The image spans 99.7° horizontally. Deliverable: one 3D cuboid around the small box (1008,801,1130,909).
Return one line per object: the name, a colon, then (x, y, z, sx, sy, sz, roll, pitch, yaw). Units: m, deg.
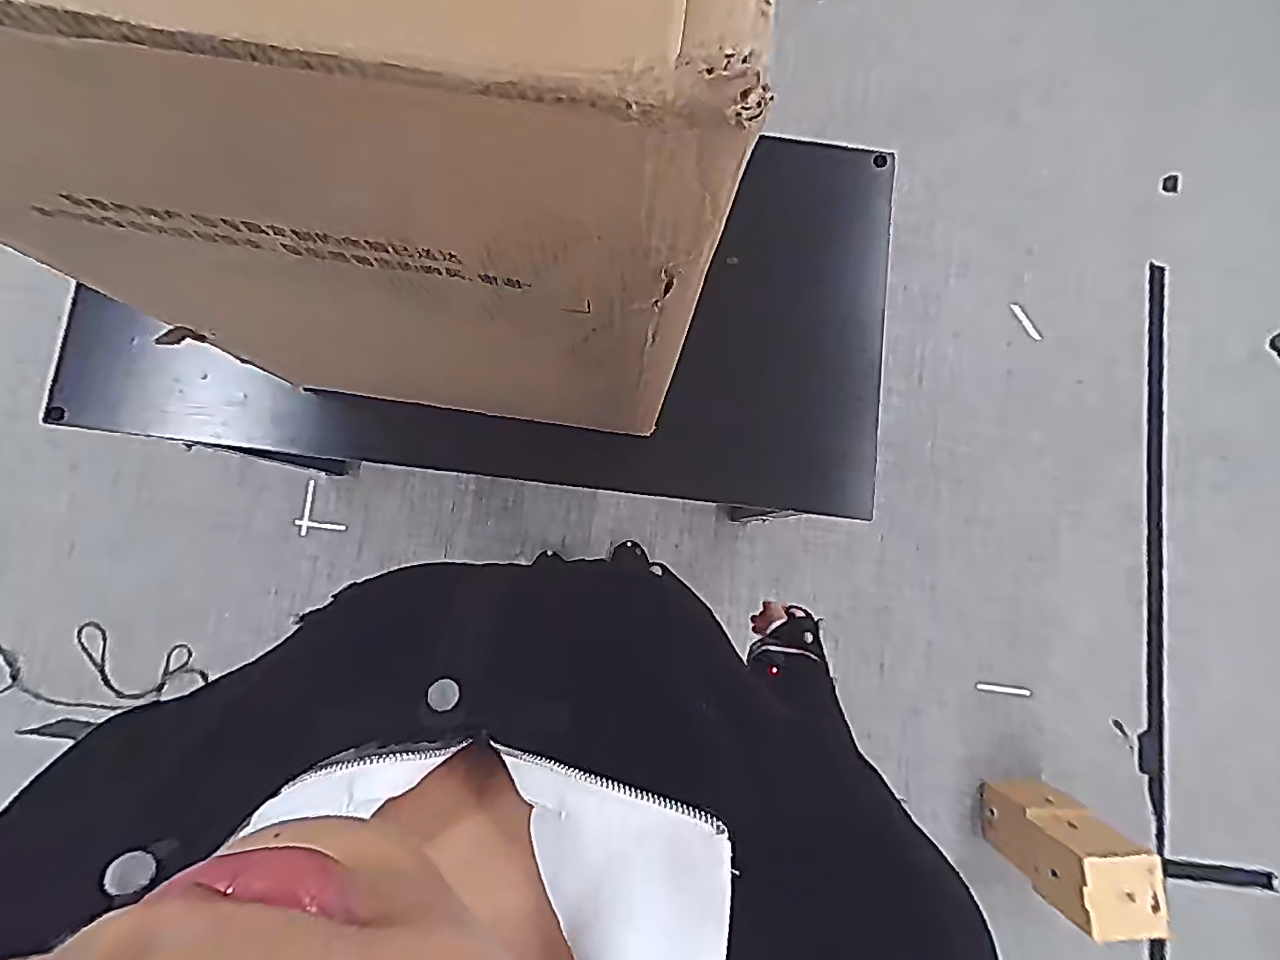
small box: (1.056, 0.917, 1.335, 0.179, 0.176, 0.168, 0, 83, -2)

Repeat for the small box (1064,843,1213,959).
small box: (1.062, 0.917, 1.170, 0.179, 0.176, 0.168, 0, 83, -3)
